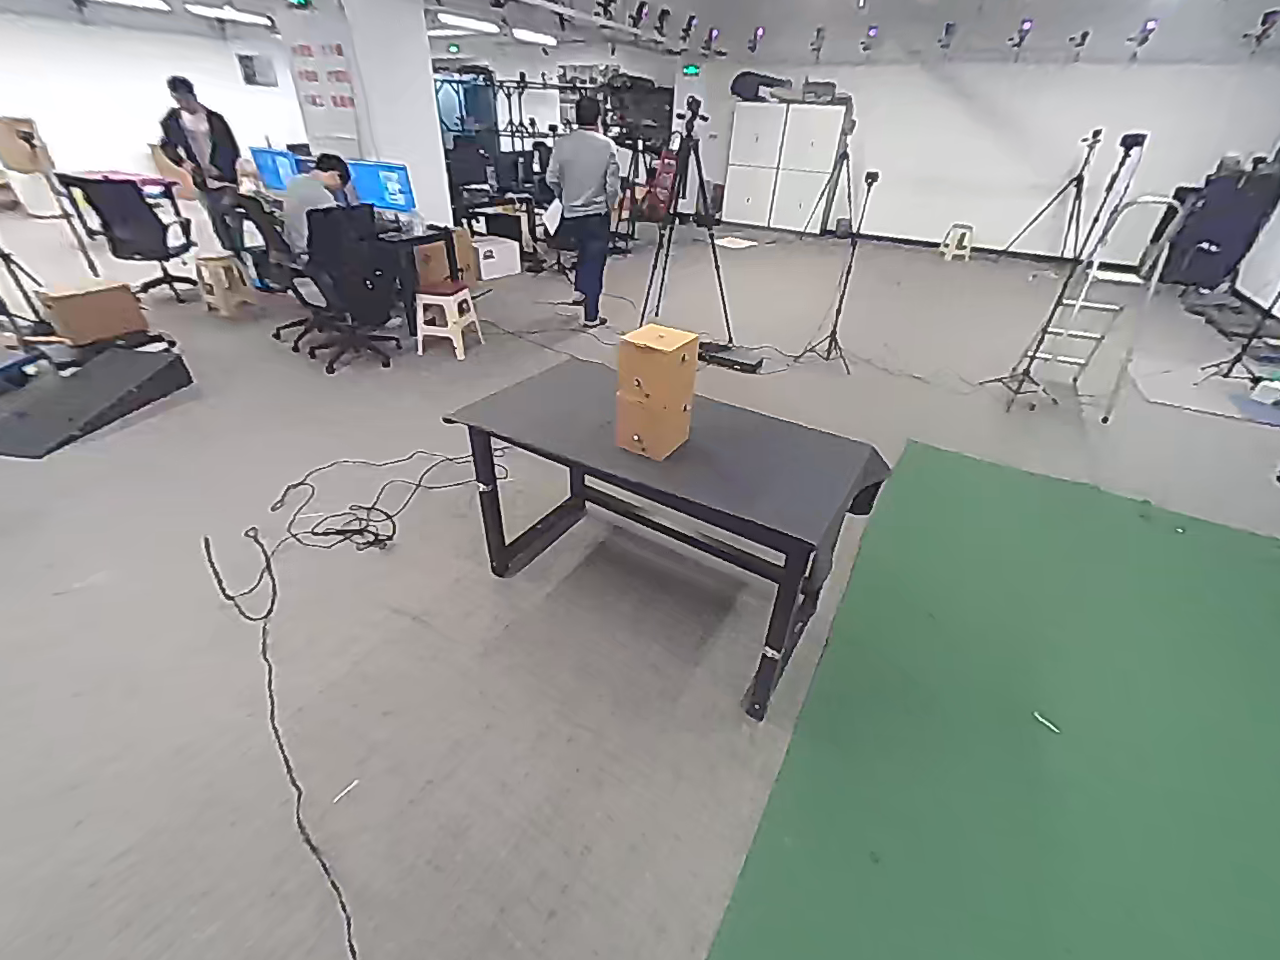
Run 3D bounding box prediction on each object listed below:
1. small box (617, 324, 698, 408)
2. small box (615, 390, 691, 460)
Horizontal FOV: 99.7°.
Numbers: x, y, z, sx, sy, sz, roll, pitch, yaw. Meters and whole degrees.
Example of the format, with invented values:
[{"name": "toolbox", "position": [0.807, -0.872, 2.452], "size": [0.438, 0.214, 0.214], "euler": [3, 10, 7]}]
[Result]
[{"name": "small box", "position": [0.045, -0.324, 1.532], "size": [0.168, 0.176, 0.179], "euler": [21, 37, 24]}, {"name": "small box", "position": [0.033, -0.185, 1.615], "size": [0.168, 0.176, 0.179], "euler": [20, 37, 25]}]
